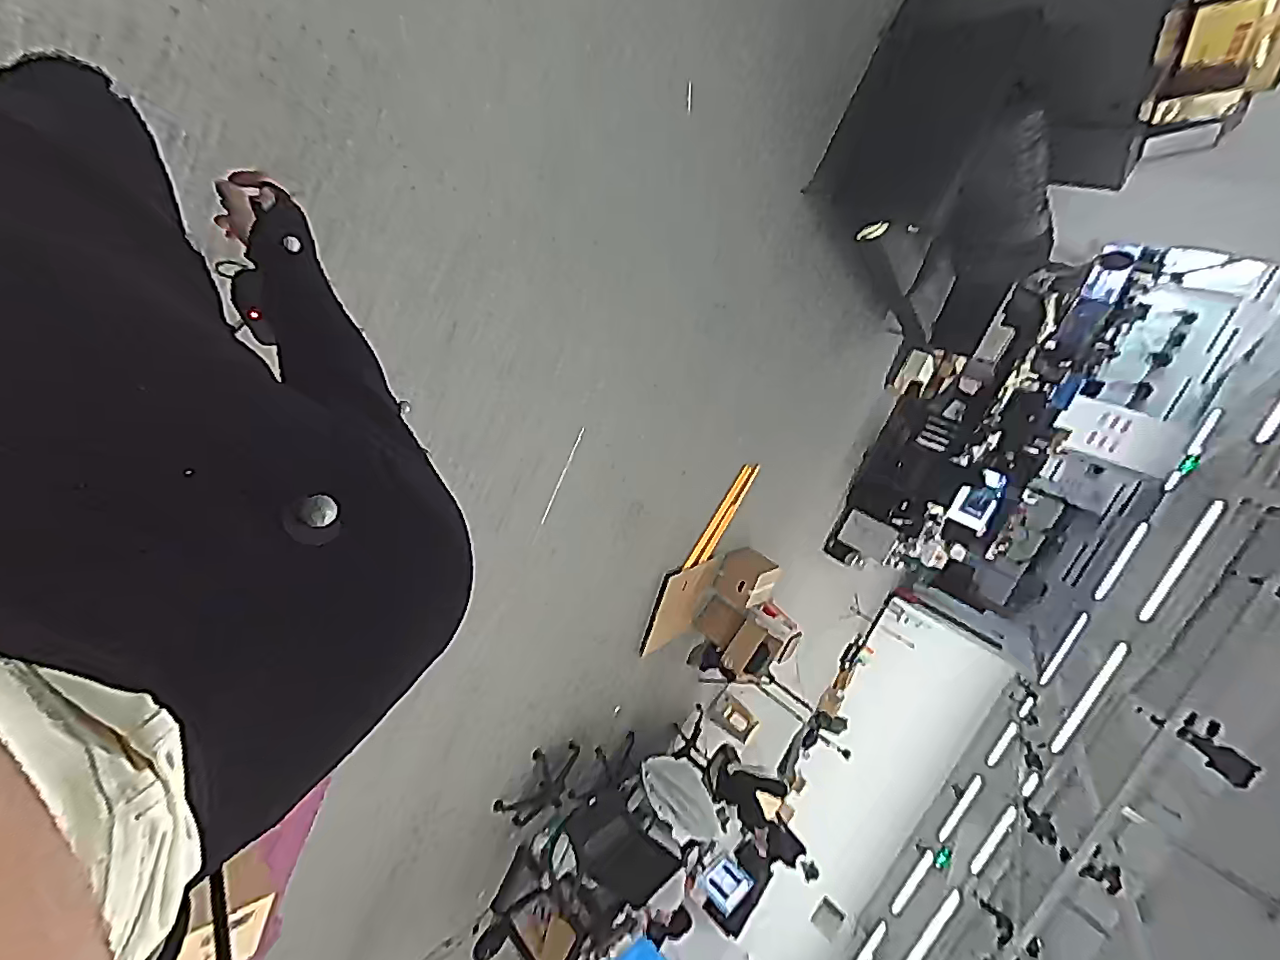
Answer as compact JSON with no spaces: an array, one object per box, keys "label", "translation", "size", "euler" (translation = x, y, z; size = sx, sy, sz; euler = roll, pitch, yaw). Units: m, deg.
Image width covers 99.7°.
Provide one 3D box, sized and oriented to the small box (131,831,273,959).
[{"label":"small box","translation":[-0.840,0.815,1.033],"size":[0.168,0.176,0.179],"euler":[7,113,-52]}]
